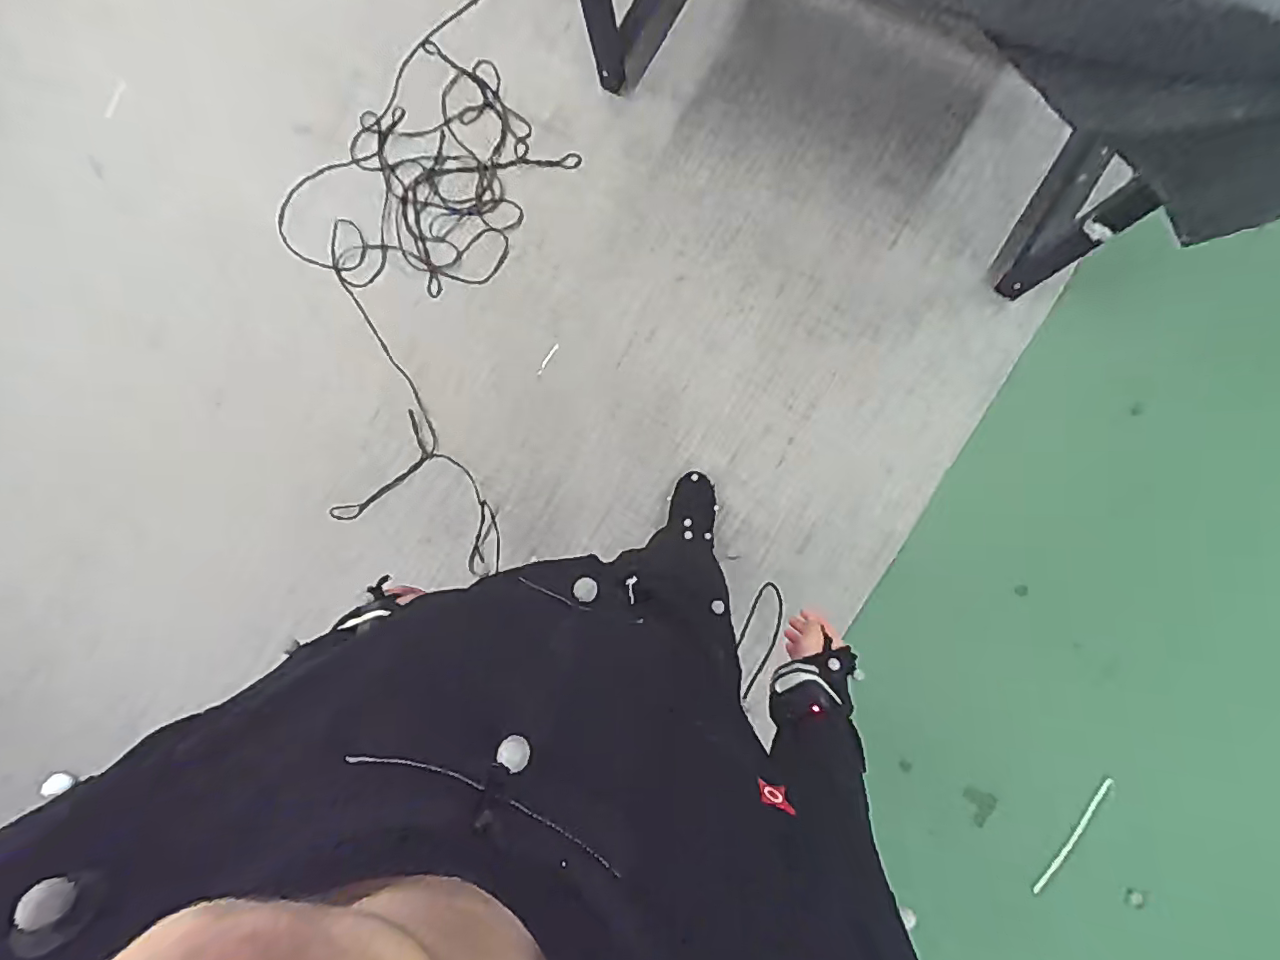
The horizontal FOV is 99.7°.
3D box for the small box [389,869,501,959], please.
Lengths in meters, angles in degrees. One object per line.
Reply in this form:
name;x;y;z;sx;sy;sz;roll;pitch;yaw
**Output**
small box;-0.461;1.083;1.302;0.168;0.176;0.179;-23;87;6
